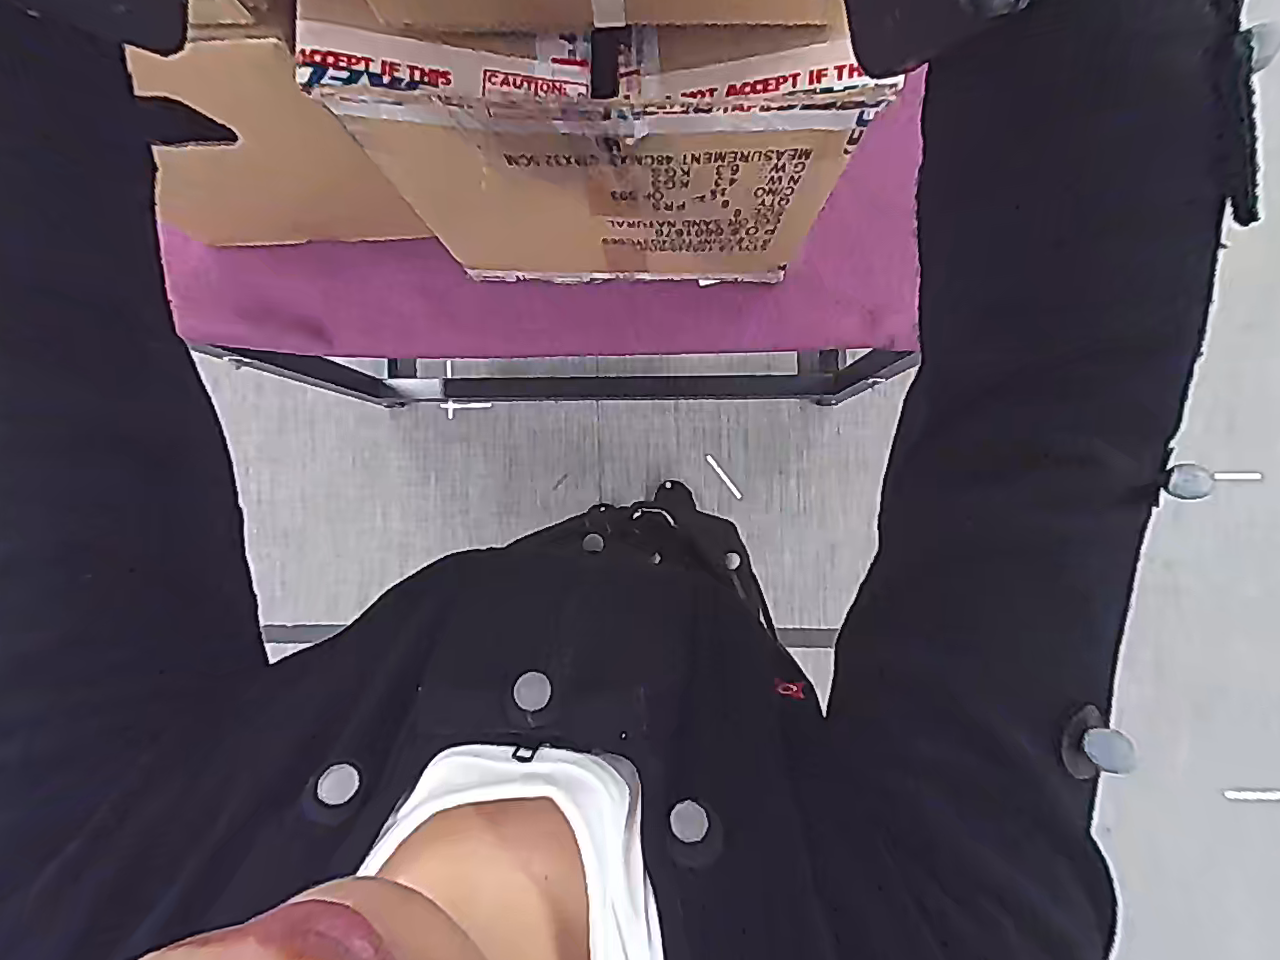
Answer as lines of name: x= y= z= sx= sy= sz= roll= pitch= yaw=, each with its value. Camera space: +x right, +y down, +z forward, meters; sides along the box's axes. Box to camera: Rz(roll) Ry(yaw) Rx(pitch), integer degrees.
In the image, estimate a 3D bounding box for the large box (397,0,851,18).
large box: x=-0.013 y=-0.494 z=0.194 sx=0.320 sy=0.320 sz=0.408 roll=1 pitch=94 yaw=3
